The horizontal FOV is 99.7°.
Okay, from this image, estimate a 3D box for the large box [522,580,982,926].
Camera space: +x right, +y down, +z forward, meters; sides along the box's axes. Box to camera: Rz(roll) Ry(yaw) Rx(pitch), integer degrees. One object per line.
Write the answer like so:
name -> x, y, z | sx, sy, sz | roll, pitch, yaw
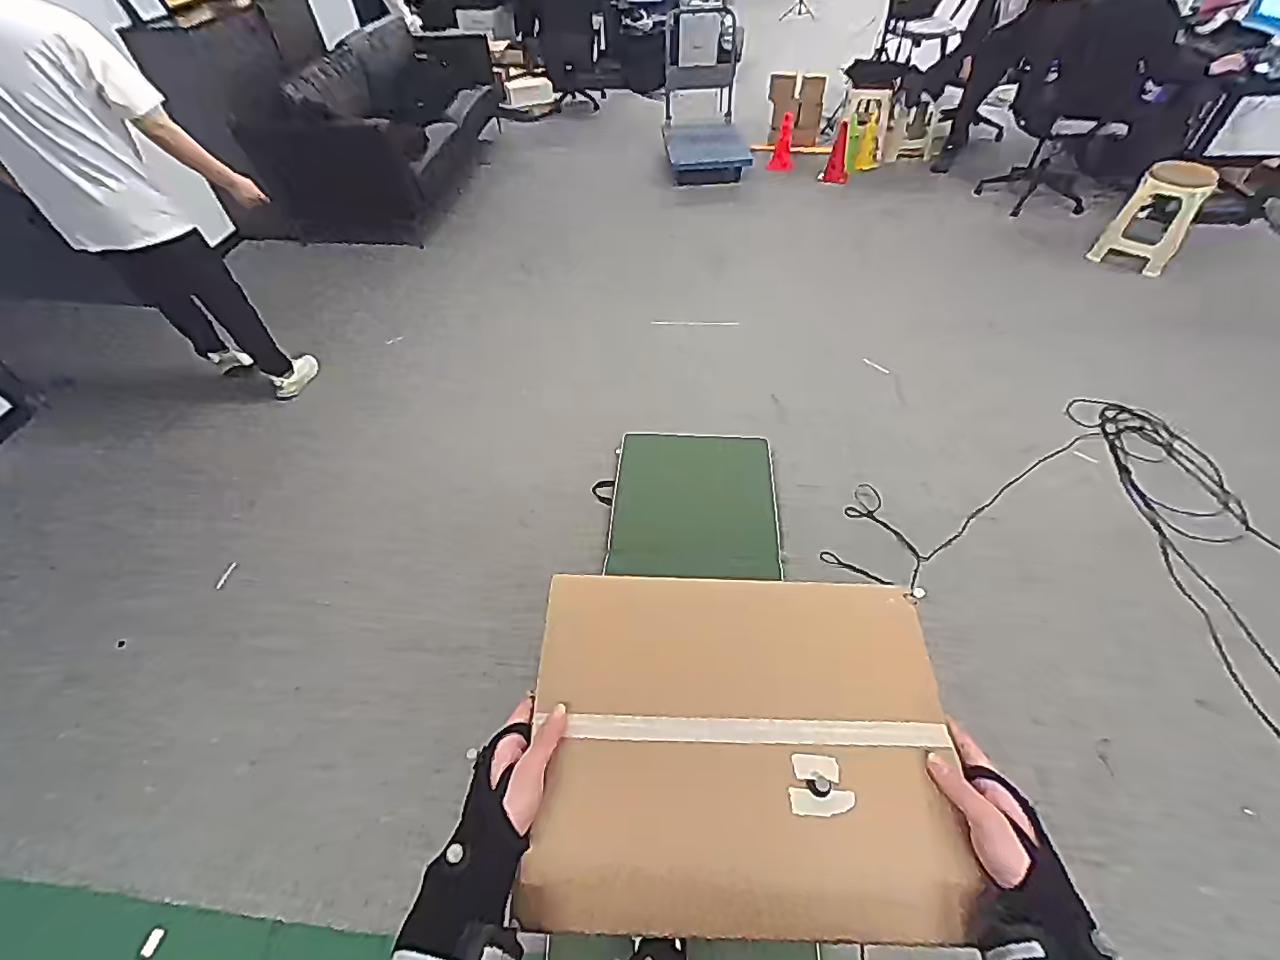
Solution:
large box -> 0.092, 0.330, 0.663 | 0.408, 0.320, 0.320 | 2, 56, -1
